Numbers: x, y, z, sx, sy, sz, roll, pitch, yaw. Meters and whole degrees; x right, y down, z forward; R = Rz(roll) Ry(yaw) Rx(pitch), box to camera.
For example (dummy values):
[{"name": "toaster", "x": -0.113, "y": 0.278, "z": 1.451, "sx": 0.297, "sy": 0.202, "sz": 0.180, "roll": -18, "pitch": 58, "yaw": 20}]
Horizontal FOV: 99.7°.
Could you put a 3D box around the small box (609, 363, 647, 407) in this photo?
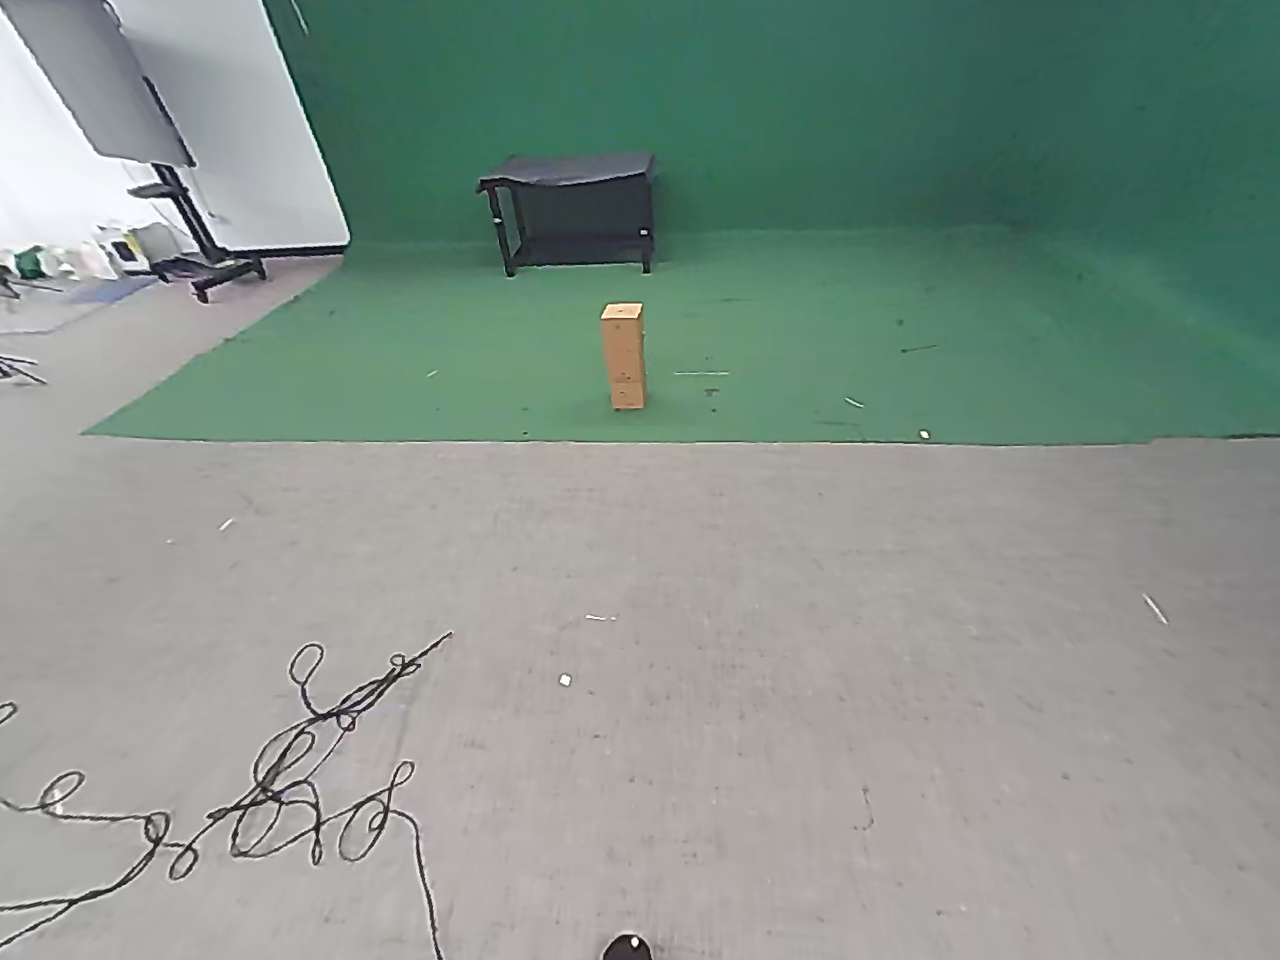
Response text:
[{"name": "small box", "x": -0.056, "y": -0.489, "z": 2.798, "sx": 0.168, "sy": 0.176, "sz": 0.179, "roll": 1, "pitch": 40, "yaw": 8}]

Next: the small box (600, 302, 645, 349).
[{"name": "small box", "x": -0.078, "y": -0.736, "z": 2.582, "sx": 0.179, "sy": 0.176, "sz": 0.168, "roll": 3, "pitch": 41, "yaw": 10}]
